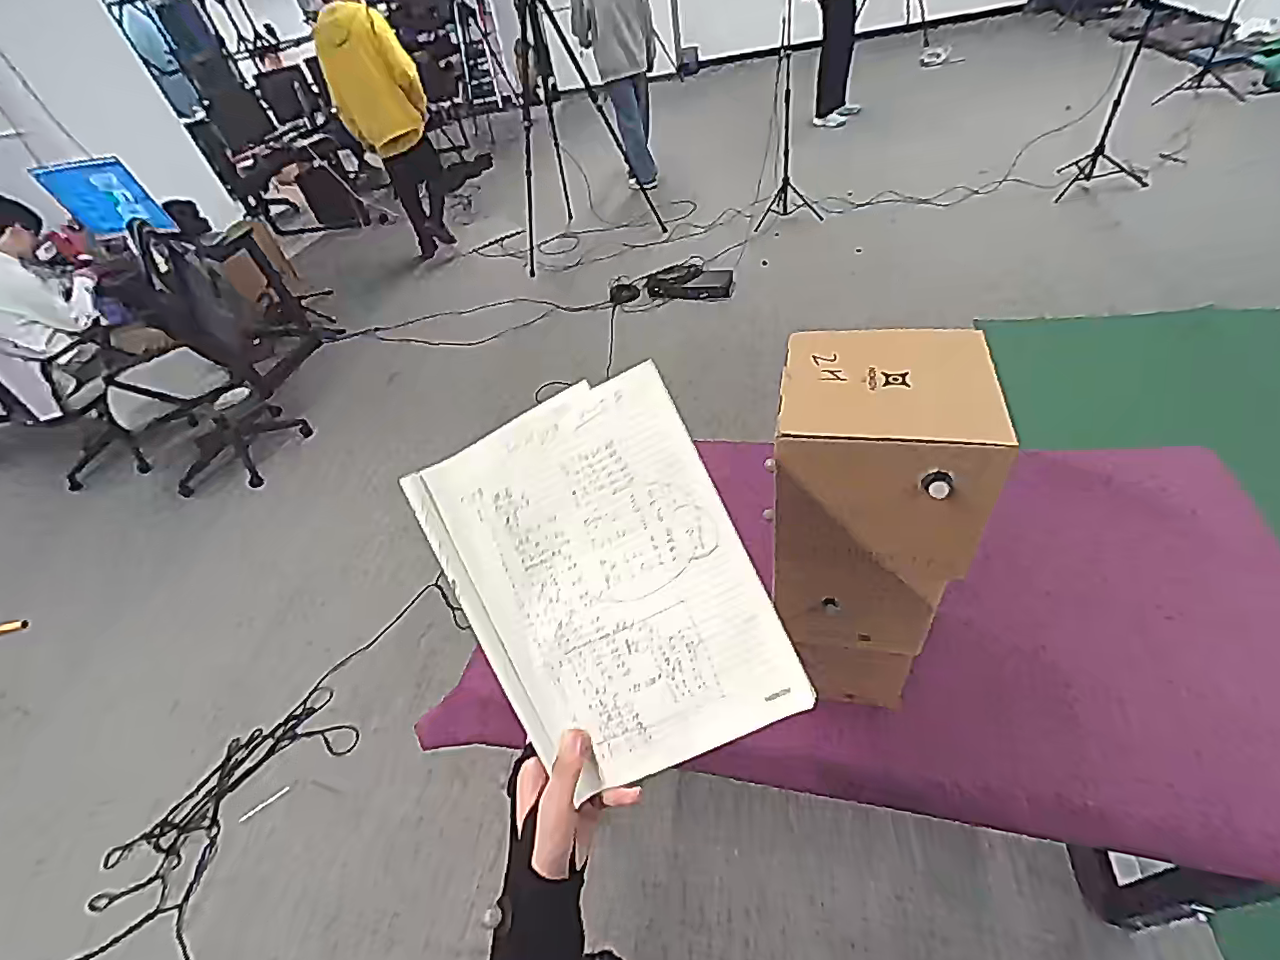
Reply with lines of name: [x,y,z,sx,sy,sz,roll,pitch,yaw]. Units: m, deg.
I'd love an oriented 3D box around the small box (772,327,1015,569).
small box: [0.227,-0.032,0.528,0.179,0.176,0.168,4,46,18]

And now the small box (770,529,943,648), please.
small box: [0.247,0.079,0.649,0.168,0.176,0.179,3,45,16]
